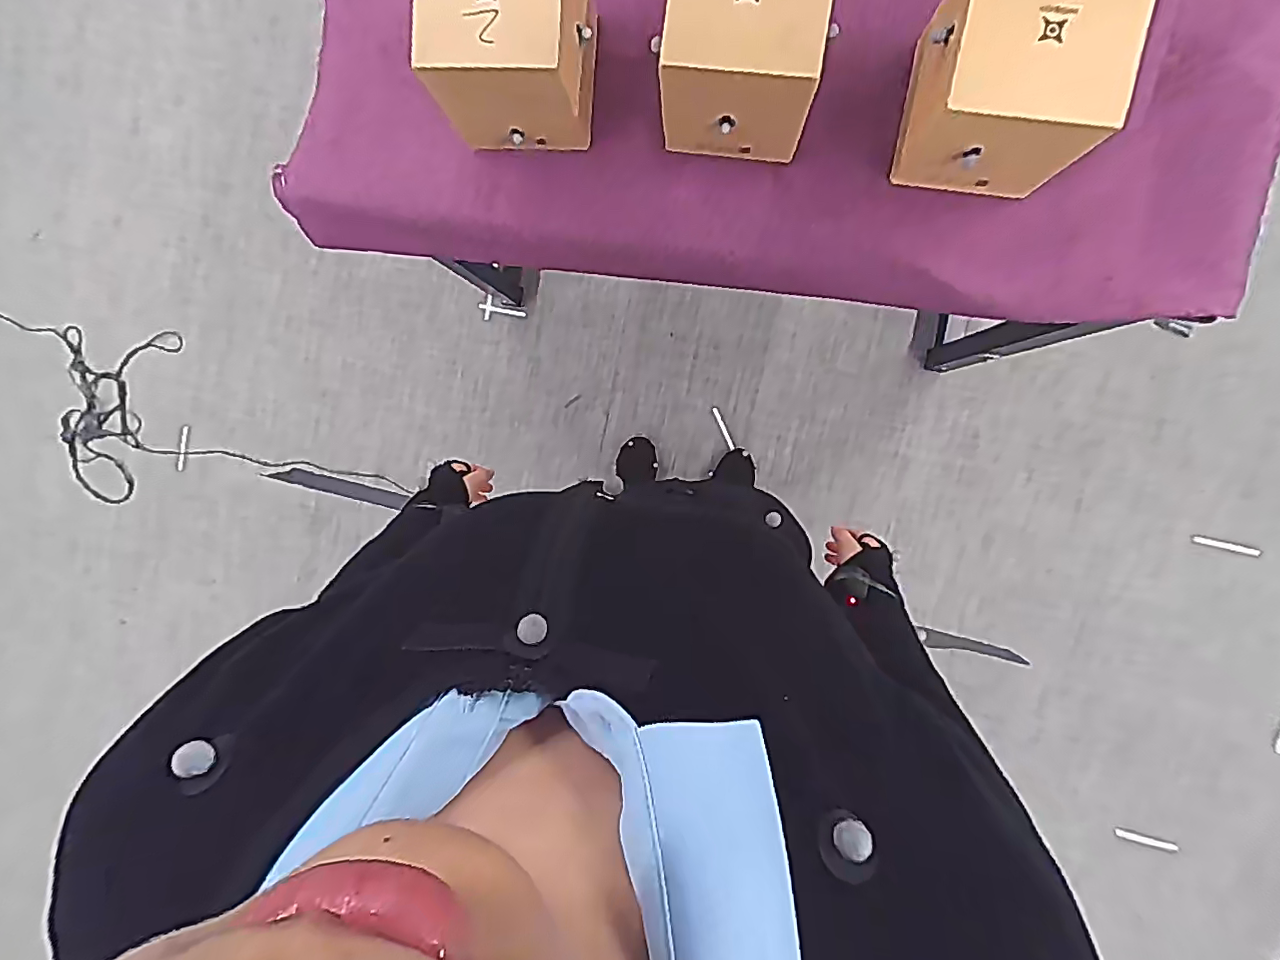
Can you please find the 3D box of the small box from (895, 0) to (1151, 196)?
[{"bbox_3d":[0.406,-0.444,0.600,0.168,0.176,0.179,10,96,5],"label":"small box"}]

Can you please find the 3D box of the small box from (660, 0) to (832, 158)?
[{"bbox_3d":[0.122,-0.506,0.624,0.168,0.176,0.179,9,94,4],"label":"small box"}]
